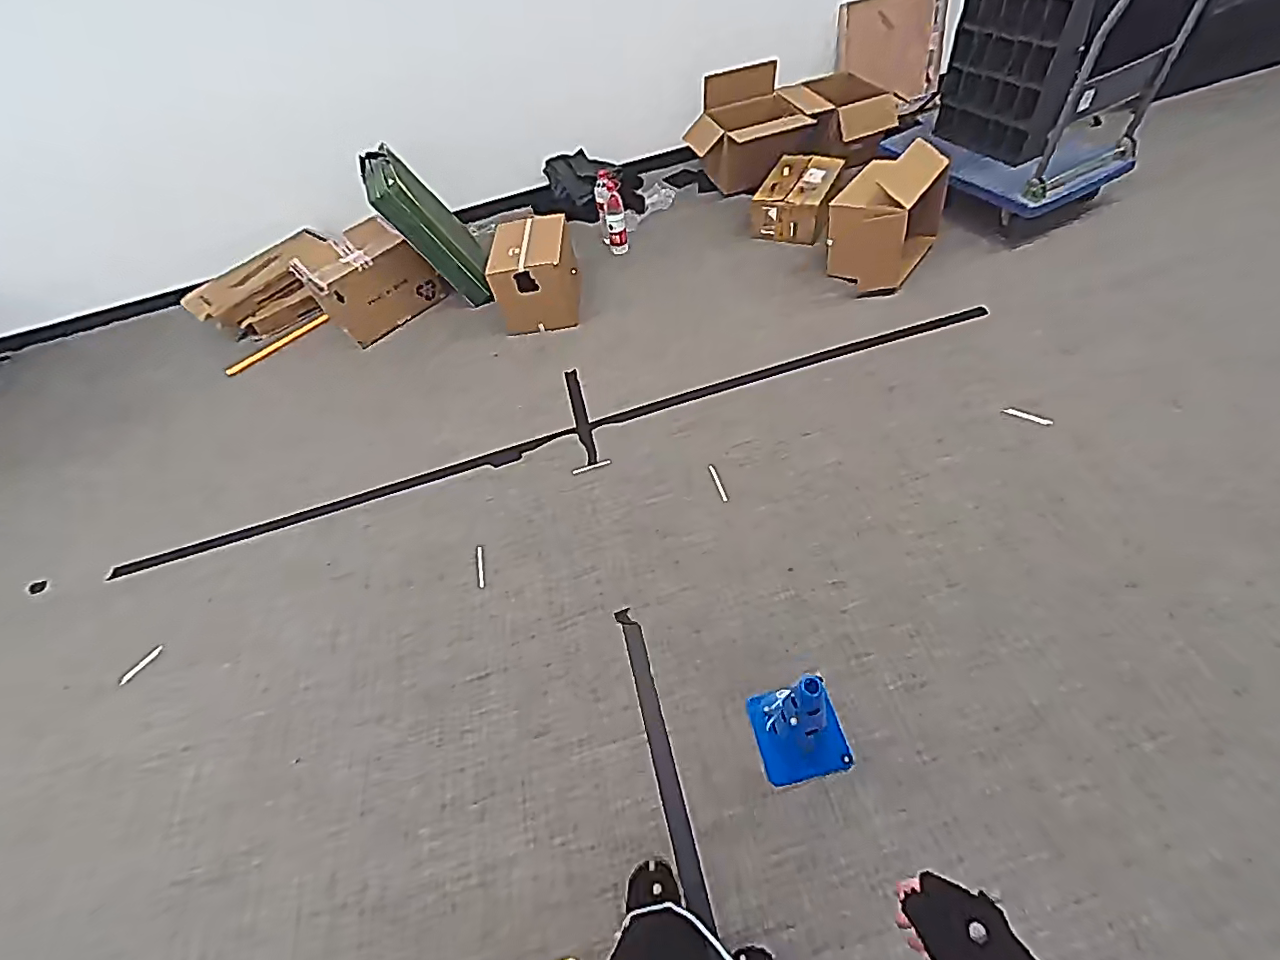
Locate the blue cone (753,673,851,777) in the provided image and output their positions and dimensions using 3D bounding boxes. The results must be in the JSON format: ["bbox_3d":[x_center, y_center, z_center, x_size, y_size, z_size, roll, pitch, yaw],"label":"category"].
[{"bbox_3d":[0.354,0.490,1.151,0.192,0.380,0.193,-12,51,0],"label":"blue cone"}]
